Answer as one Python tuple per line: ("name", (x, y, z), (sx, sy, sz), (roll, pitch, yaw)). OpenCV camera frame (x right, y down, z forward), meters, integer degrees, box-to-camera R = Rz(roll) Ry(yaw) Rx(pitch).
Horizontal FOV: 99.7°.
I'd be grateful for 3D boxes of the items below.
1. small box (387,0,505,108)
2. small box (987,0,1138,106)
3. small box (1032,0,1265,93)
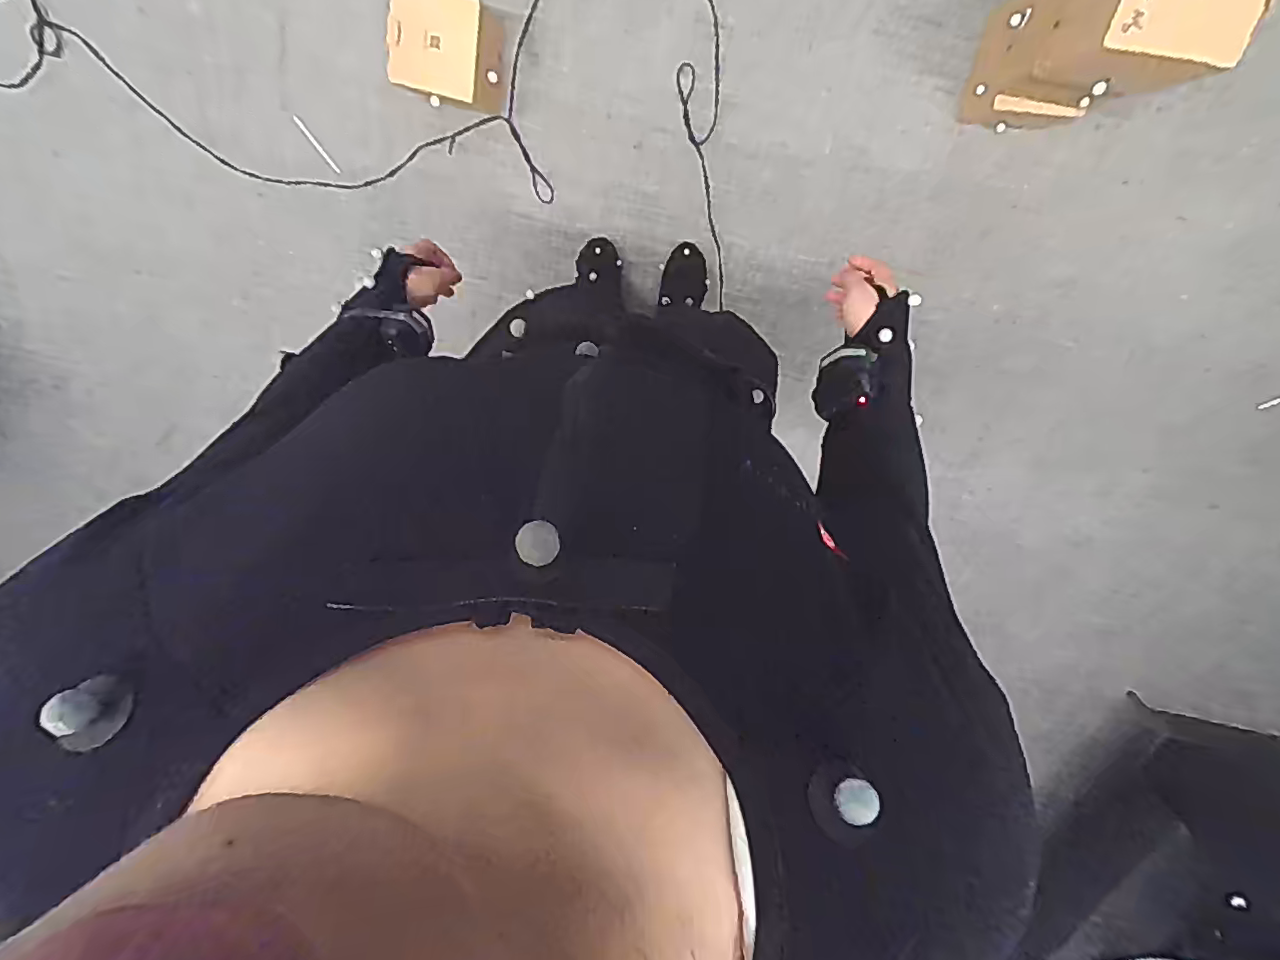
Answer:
("small box", (-0.385, -0.875, 1.093), (0.179, 0.176, 0.168), (14, 117, -1))
("small box", (0.720, -0.730, 0.881), (0.179, 0.176, 0.168), (11, 116, 1))
("small box", (0.699, -0.652, 0.739), (0.179, 0.176, 0.168), (10, 116, 0))
